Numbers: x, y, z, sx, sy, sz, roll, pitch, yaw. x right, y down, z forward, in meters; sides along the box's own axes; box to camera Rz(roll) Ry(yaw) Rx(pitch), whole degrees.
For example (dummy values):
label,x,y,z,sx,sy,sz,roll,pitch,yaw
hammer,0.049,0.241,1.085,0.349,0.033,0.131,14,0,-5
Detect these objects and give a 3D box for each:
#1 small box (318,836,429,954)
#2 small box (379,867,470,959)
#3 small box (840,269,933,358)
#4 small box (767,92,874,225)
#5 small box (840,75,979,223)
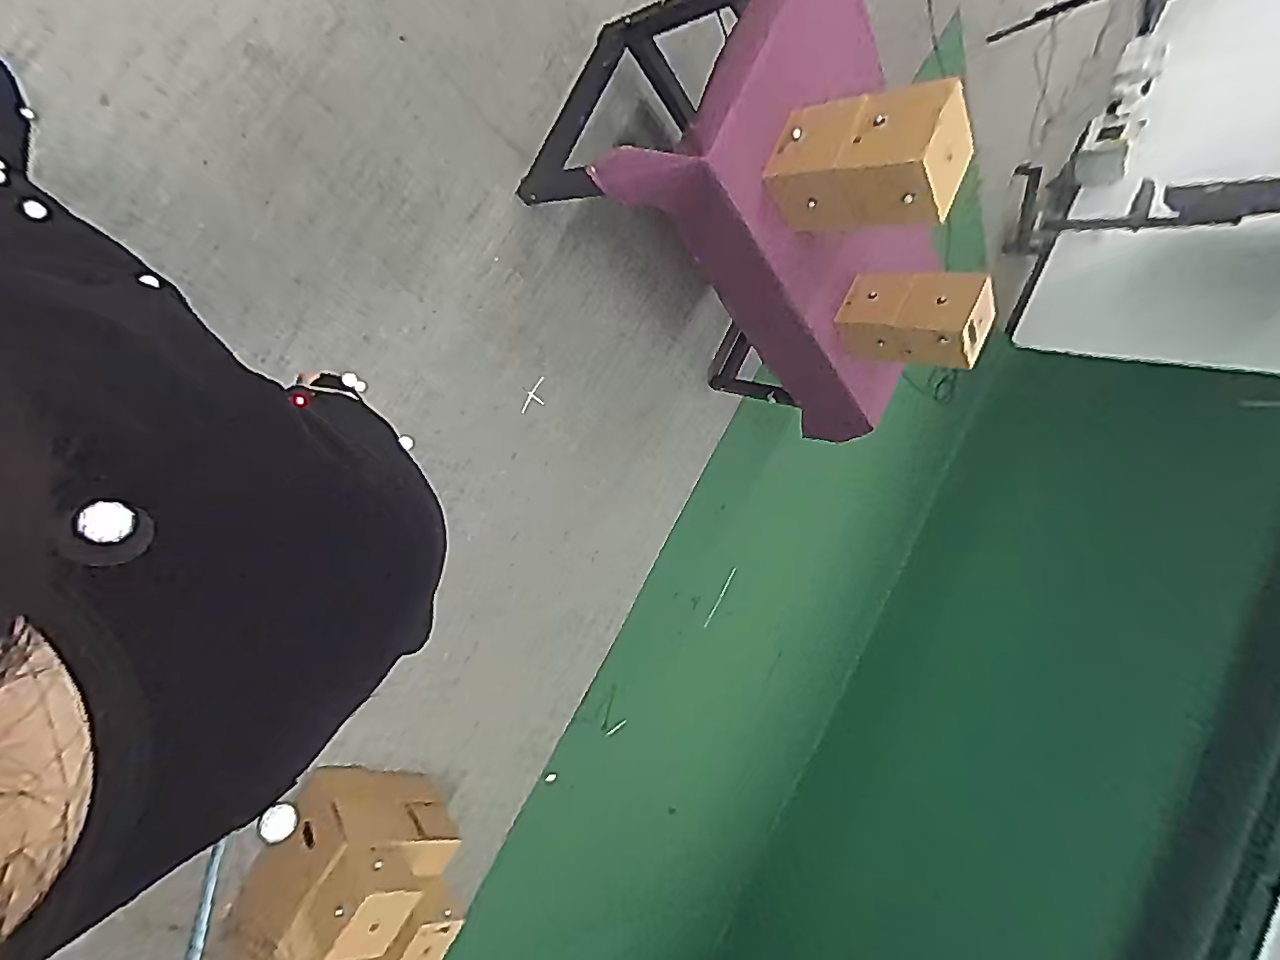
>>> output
label,x,y,z,sx,sy,sz,roll,pitch,yaw
small box,-0.691,1.058,1.393,0.179,0.176,0.168,-55,134,-11
small box,-0.628,1.249,1.540,0.179,0.176,0.168,-55,137,-9
small box,0.684,-0.463,1.507,0.179,0.176,0.168,37,80,-46
small box,0.400,-0.663,1.139,0.179,0.176,0.168,28,86,-46
small box,0.513,-0.617,1.032,0.179,0.176,0.168,26,87,-47
